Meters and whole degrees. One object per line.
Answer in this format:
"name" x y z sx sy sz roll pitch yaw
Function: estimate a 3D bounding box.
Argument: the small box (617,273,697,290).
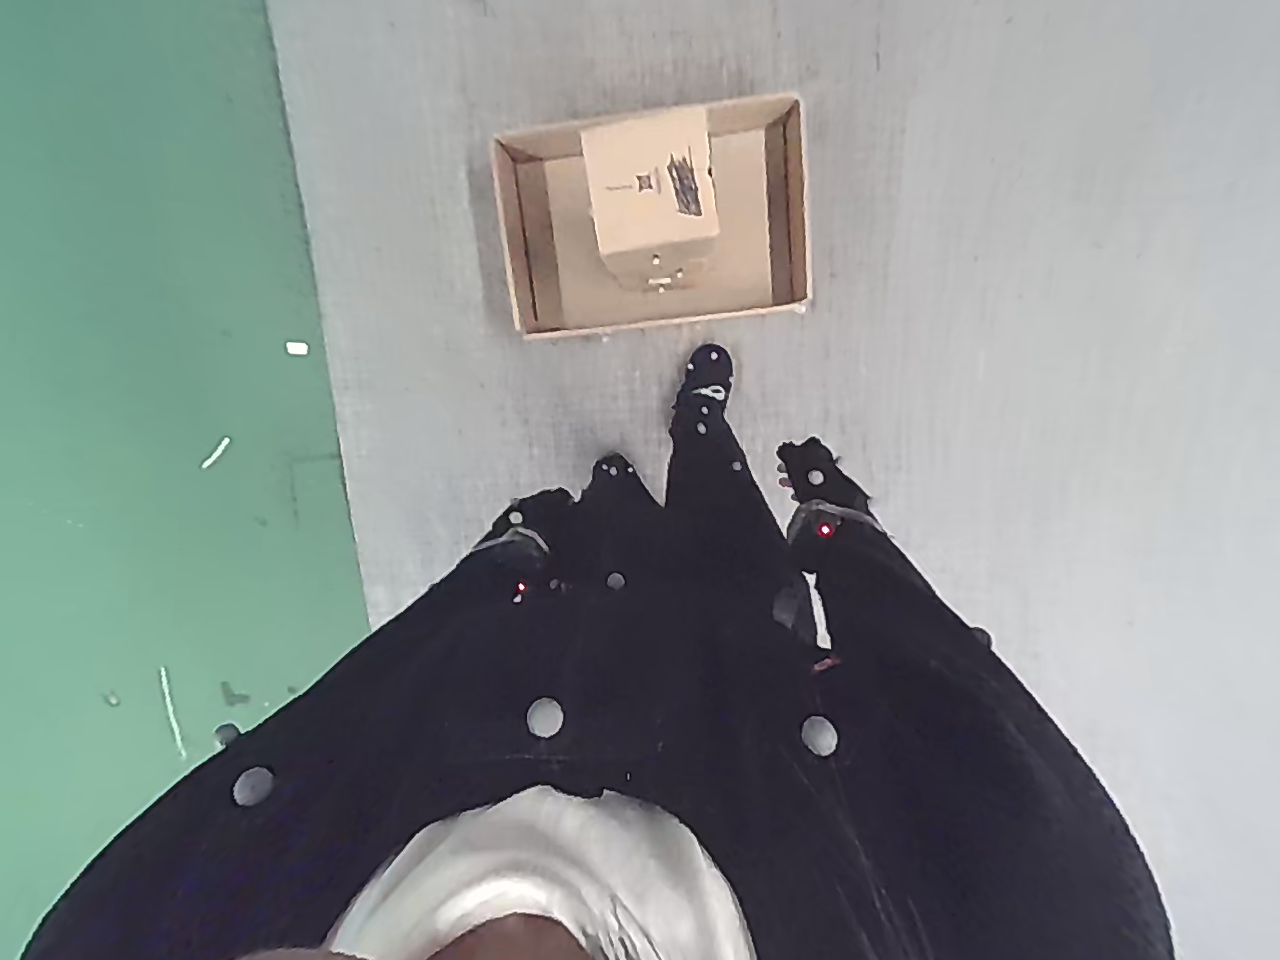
"small box" 0.038 -0.505 1.153 0.168 0.176 0.179 -2 103 4

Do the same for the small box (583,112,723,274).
"small box" 0.021 -0.429 0.837 0.179 0.176 0.168 -10 102 5

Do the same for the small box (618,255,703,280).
"small box" 0.029 -0.472 0.995 0.168 0.176 0.179 -3 101 4
